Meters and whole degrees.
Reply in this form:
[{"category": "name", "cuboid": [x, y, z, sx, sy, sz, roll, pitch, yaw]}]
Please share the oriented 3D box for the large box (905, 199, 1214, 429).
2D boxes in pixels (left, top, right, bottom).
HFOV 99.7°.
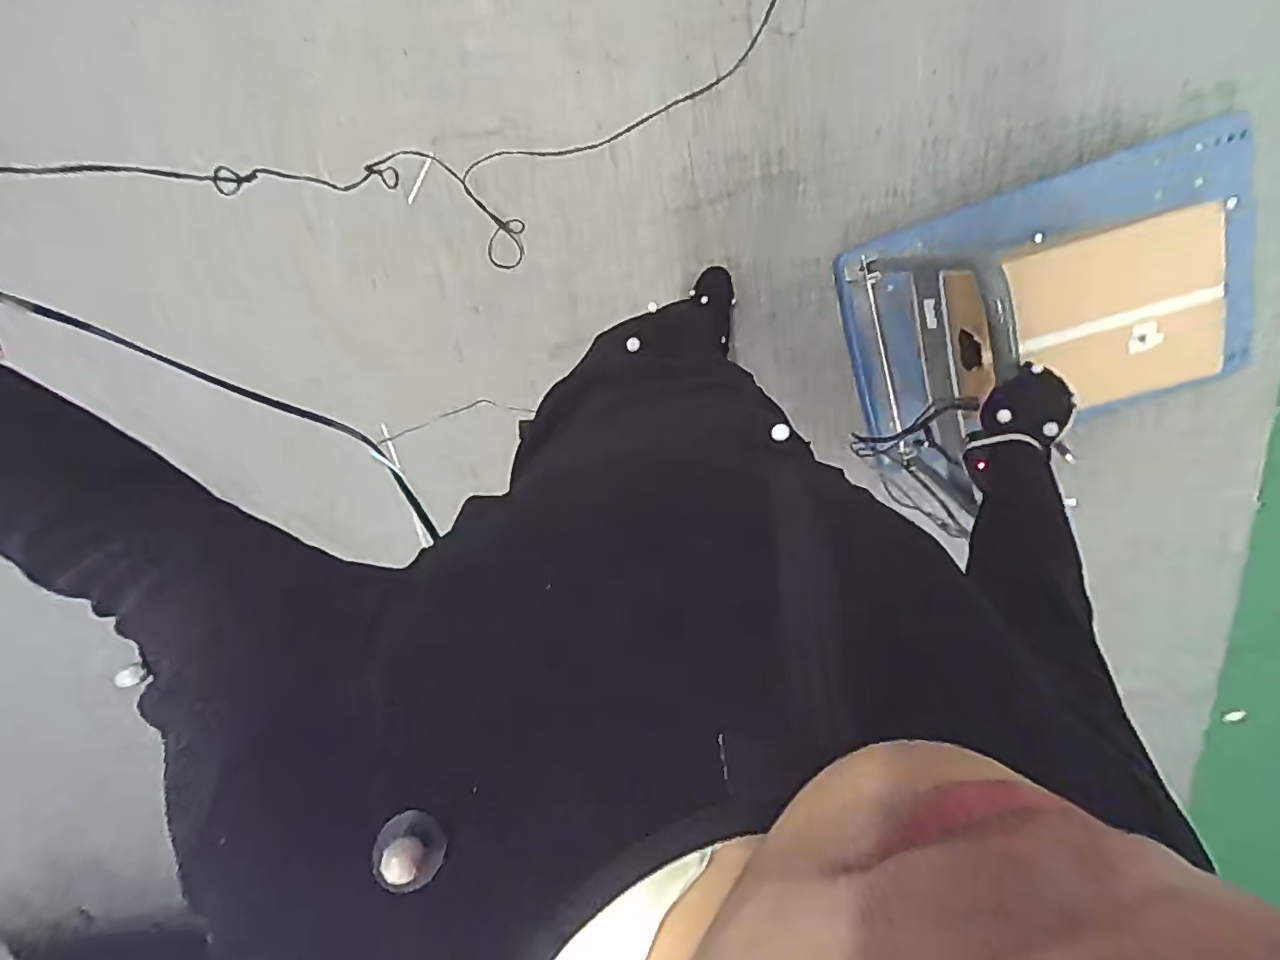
[{"category": "large box", "cuboid": [0.845, -0.336, 1.140, 0.408, 0.320, 0.320, -16, 108, 8]}]
